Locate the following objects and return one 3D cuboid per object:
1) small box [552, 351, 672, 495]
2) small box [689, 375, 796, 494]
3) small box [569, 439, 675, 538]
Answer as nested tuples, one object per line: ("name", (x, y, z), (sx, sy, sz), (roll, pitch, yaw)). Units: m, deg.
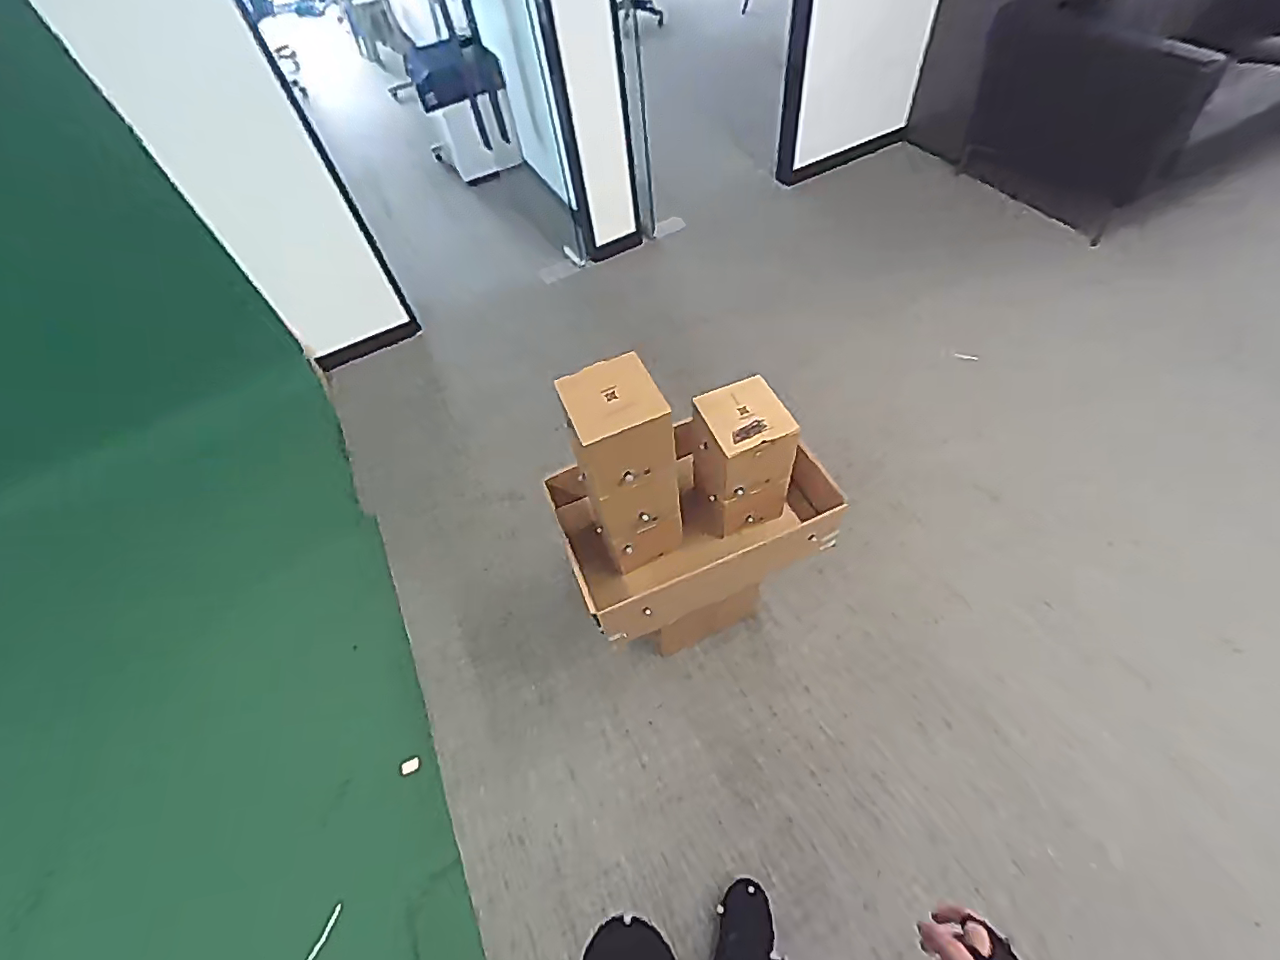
("small box", (-0.050, -0.103, 1.011), (0.168, 0.176, 0.179), (-21, 55, -8))
("small box", (0.216, -0.089, 1.171), (0.168, 0.176, 0.179), (-20, 55, -8))
("small box", (-0.035, -0.008, 1.142), (0.168, 0.176, 0.179), (-22, 55, -8))
